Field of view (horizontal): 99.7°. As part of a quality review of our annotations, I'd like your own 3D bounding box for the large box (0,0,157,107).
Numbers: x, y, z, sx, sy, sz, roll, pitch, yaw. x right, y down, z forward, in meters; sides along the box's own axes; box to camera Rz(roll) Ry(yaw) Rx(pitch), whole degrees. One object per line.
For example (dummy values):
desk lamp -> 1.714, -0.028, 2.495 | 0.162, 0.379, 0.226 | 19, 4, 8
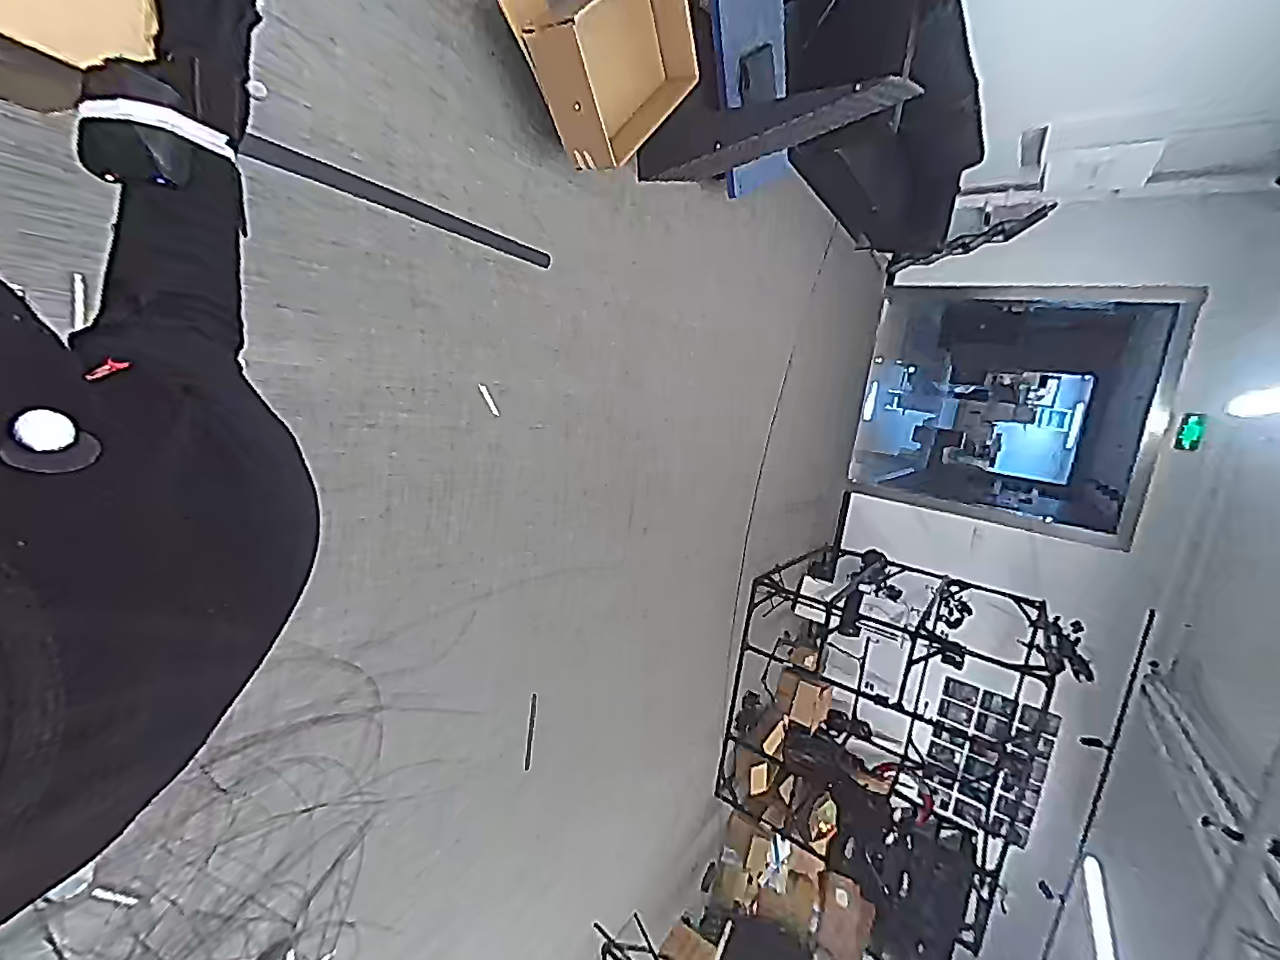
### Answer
large box -> -0.542, -0.460, 0.268 | 0.408, 0.320, 0.320 | -1, 110, -58
